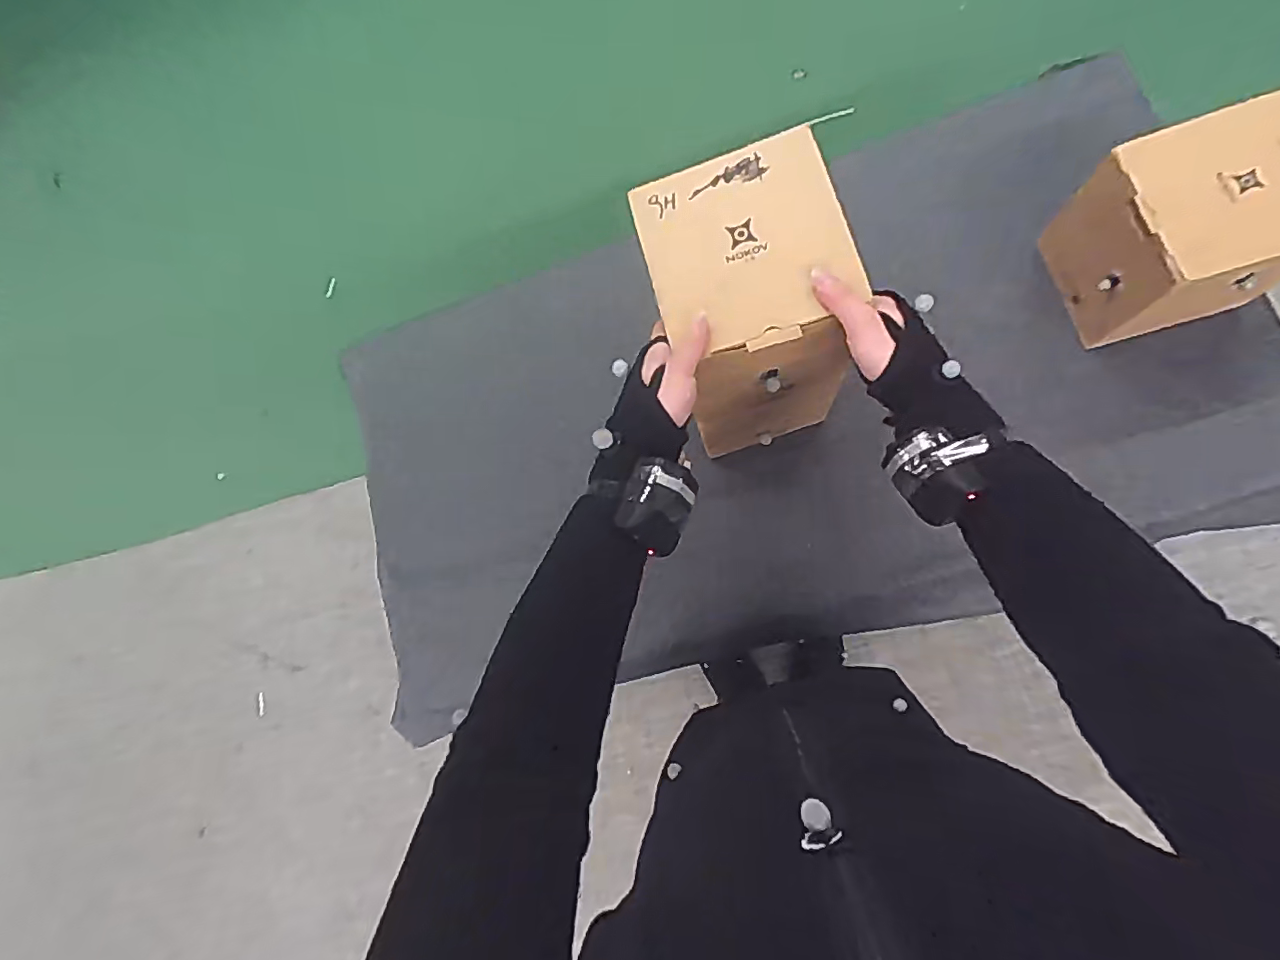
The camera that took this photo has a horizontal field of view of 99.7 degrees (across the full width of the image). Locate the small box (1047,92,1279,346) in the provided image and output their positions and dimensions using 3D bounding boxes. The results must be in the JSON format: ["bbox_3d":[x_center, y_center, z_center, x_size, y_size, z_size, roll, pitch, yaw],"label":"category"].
[{"bbox_3d":[0.605,-0.275,0.607,0.179,0.176,0.168,-16,77,8],"label":"small box"}]

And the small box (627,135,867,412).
[{"bbox_3d":[0.101,-0.178,0.531,0.168,0.176,0.179,-17,78,9],"label":"small box"}]

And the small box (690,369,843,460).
[{"bbox_3d":[0.135,-0.143,0.686,0.168,0.176,0.179,-19,77,8],"label":"small box"}]
